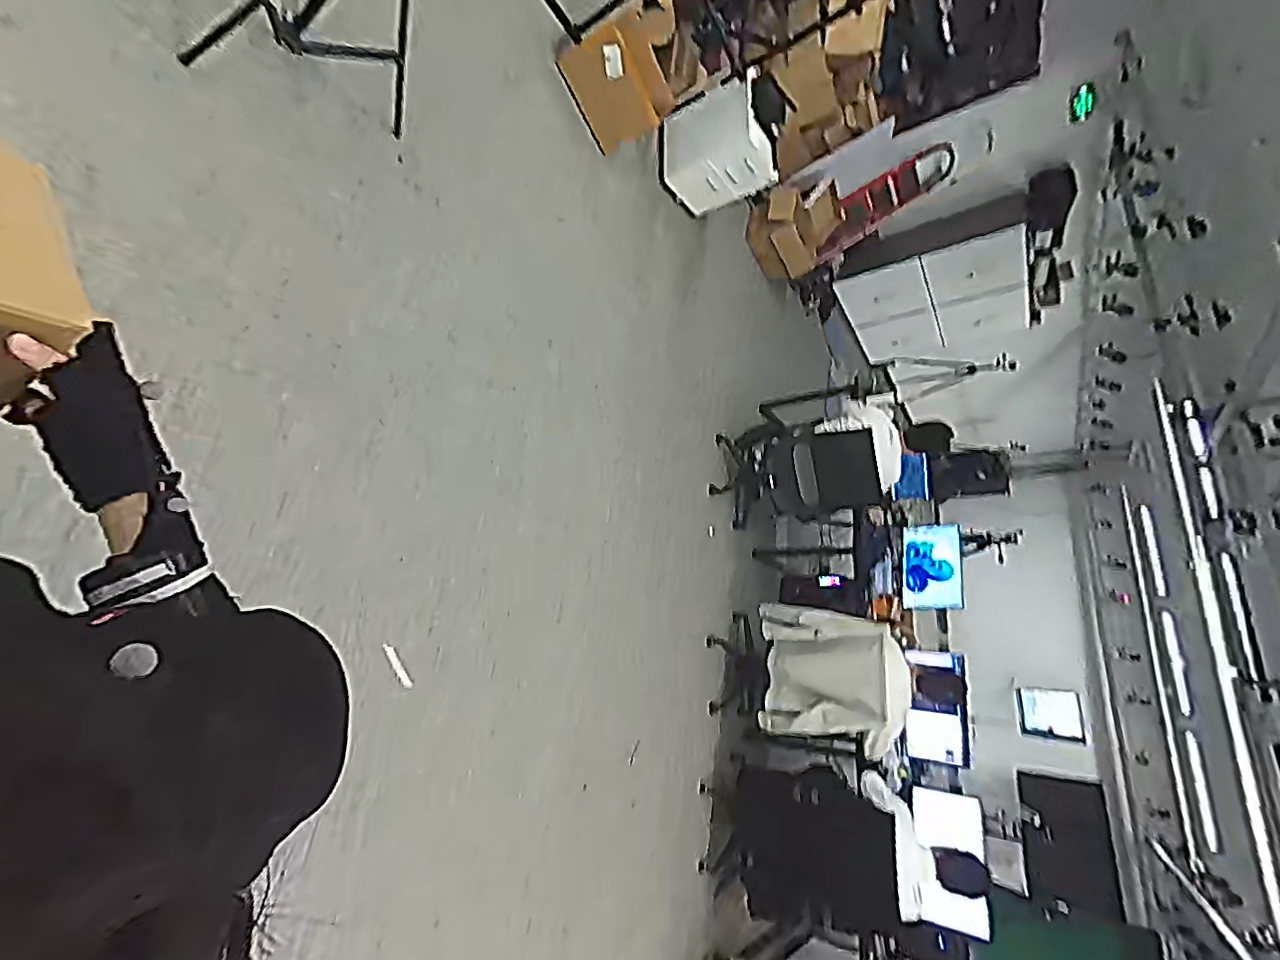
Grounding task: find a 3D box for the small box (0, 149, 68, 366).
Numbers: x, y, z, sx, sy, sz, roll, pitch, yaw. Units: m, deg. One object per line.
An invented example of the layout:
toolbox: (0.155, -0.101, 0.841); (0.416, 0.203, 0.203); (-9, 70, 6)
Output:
small box: (-0.537, -0.146, 0.337); (0.168, 0.176, 0.179); (63, 11, 11)
